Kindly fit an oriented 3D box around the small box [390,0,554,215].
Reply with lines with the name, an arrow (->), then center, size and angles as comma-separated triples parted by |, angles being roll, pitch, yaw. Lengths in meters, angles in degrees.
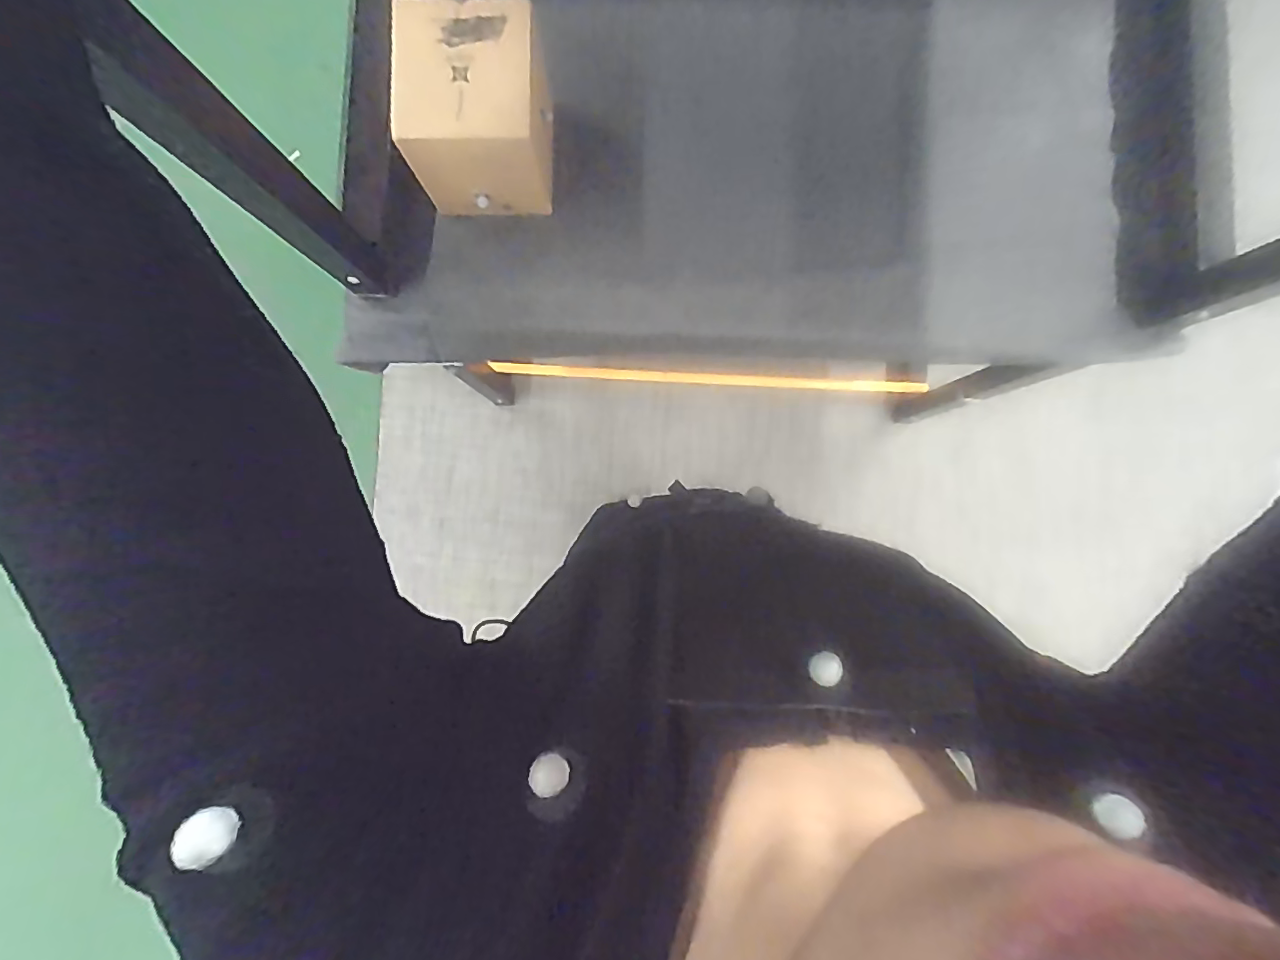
small box -> -0.210, -0.482, 0.716 | 0.168, 0.176, 0.179 | 0, 87, 0
